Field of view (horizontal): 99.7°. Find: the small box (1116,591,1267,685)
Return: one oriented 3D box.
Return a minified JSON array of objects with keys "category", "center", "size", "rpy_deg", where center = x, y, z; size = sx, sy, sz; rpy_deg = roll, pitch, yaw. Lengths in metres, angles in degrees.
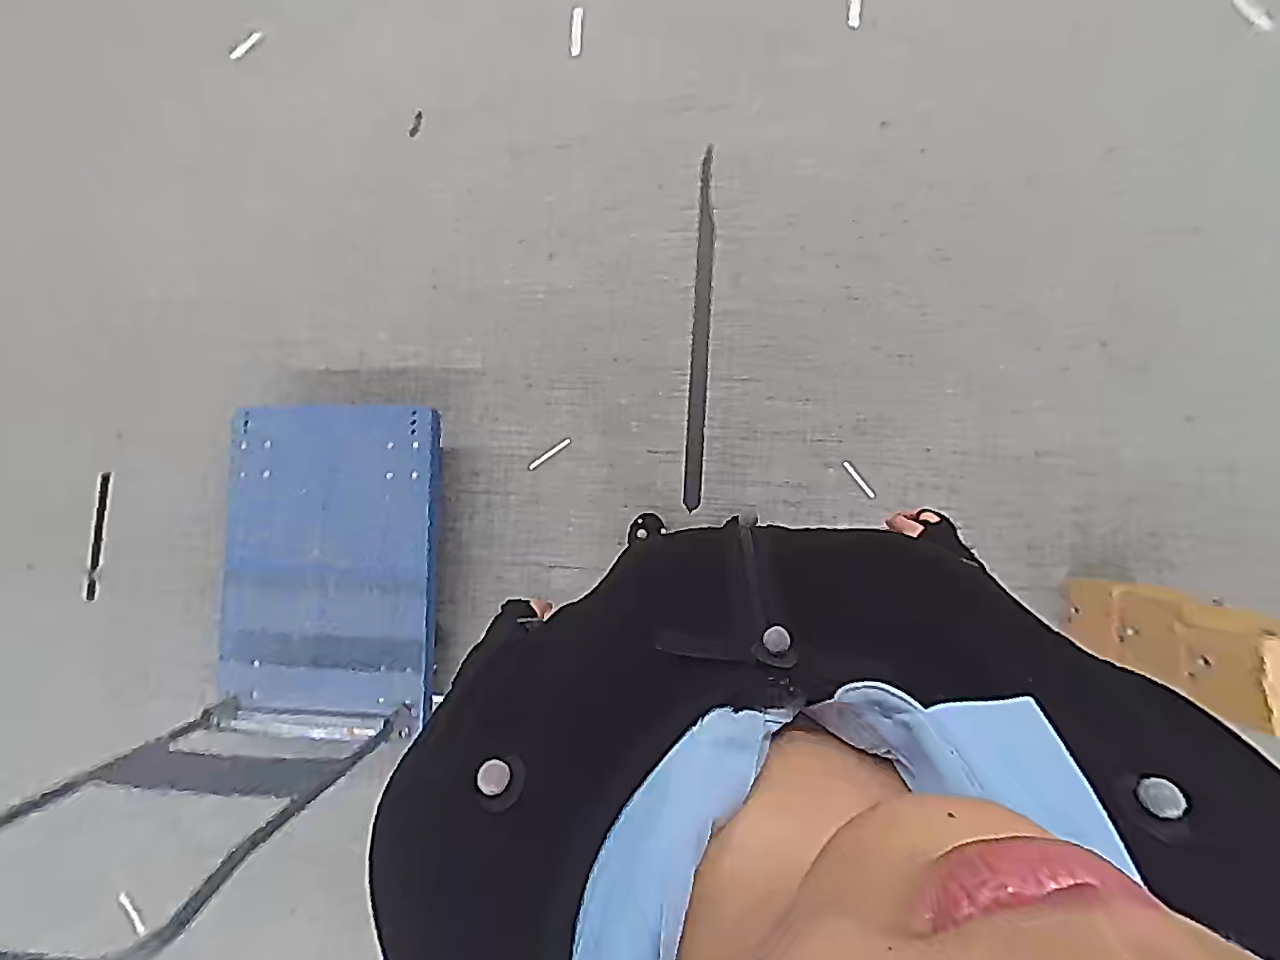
[{"category":"small box","center":[1.158,0.332,1.130],"size":[0.179,0.176,0.168],"rpy_deg":[6,87,7]}]

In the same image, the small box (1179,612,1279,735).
[{"category":"small box","center":[1.140,0.337,0.968],"size":[0.179,0.176,0.168],"rpy_deg":[-6,86,6]}]
